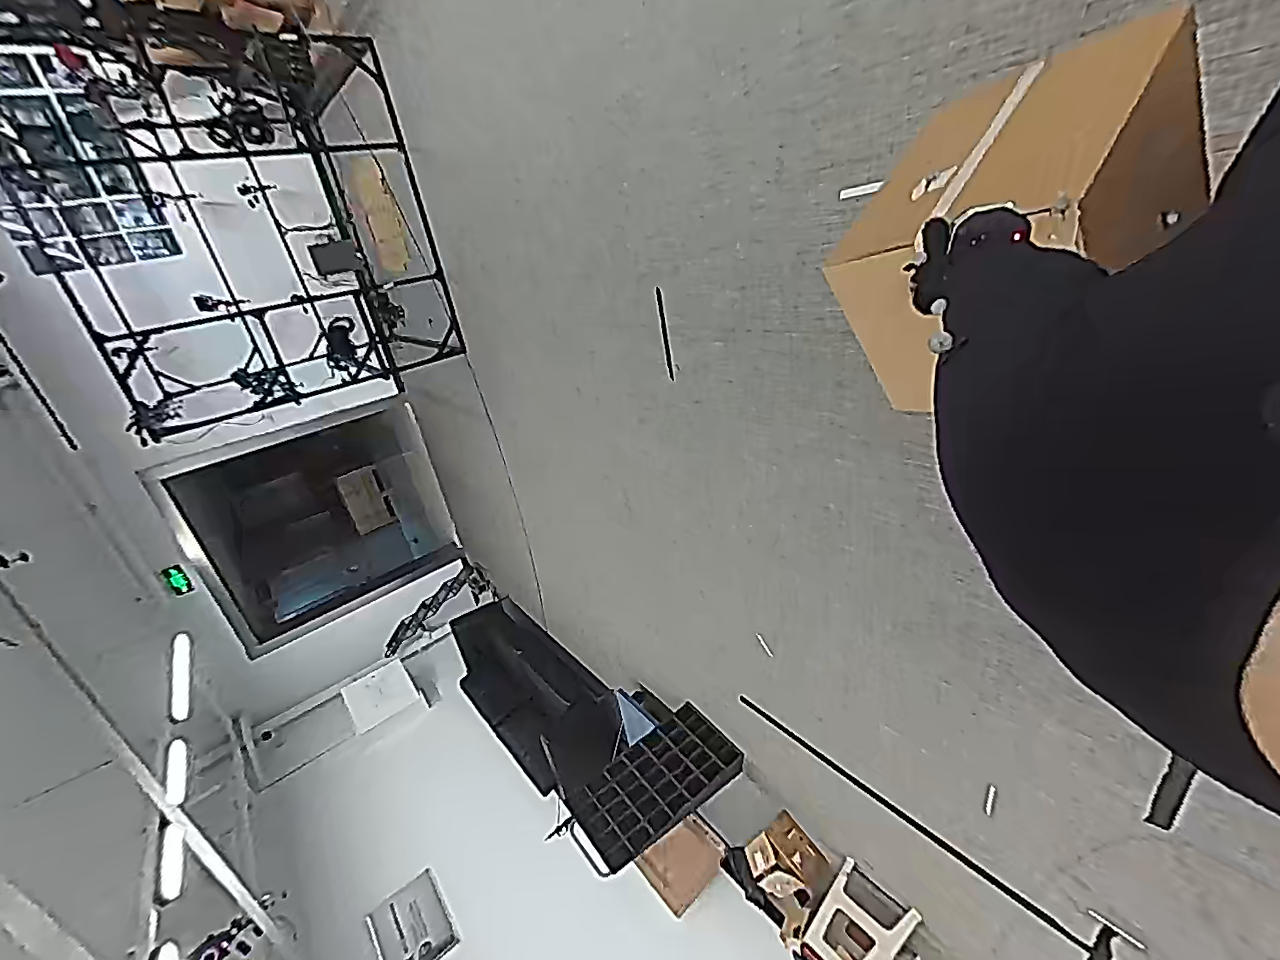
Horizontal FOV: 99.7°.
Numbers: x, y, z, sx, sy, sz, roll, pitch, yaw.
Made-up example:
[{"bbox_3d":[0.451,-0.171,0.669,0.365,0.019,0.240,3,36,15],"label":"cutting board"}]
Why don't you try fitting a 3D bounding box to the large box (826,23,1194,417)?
[{"bbox_3d":[0.563,-0.347,0.815,0.320,0.408,0.320,47,162,-29],"label":"large box"}]
